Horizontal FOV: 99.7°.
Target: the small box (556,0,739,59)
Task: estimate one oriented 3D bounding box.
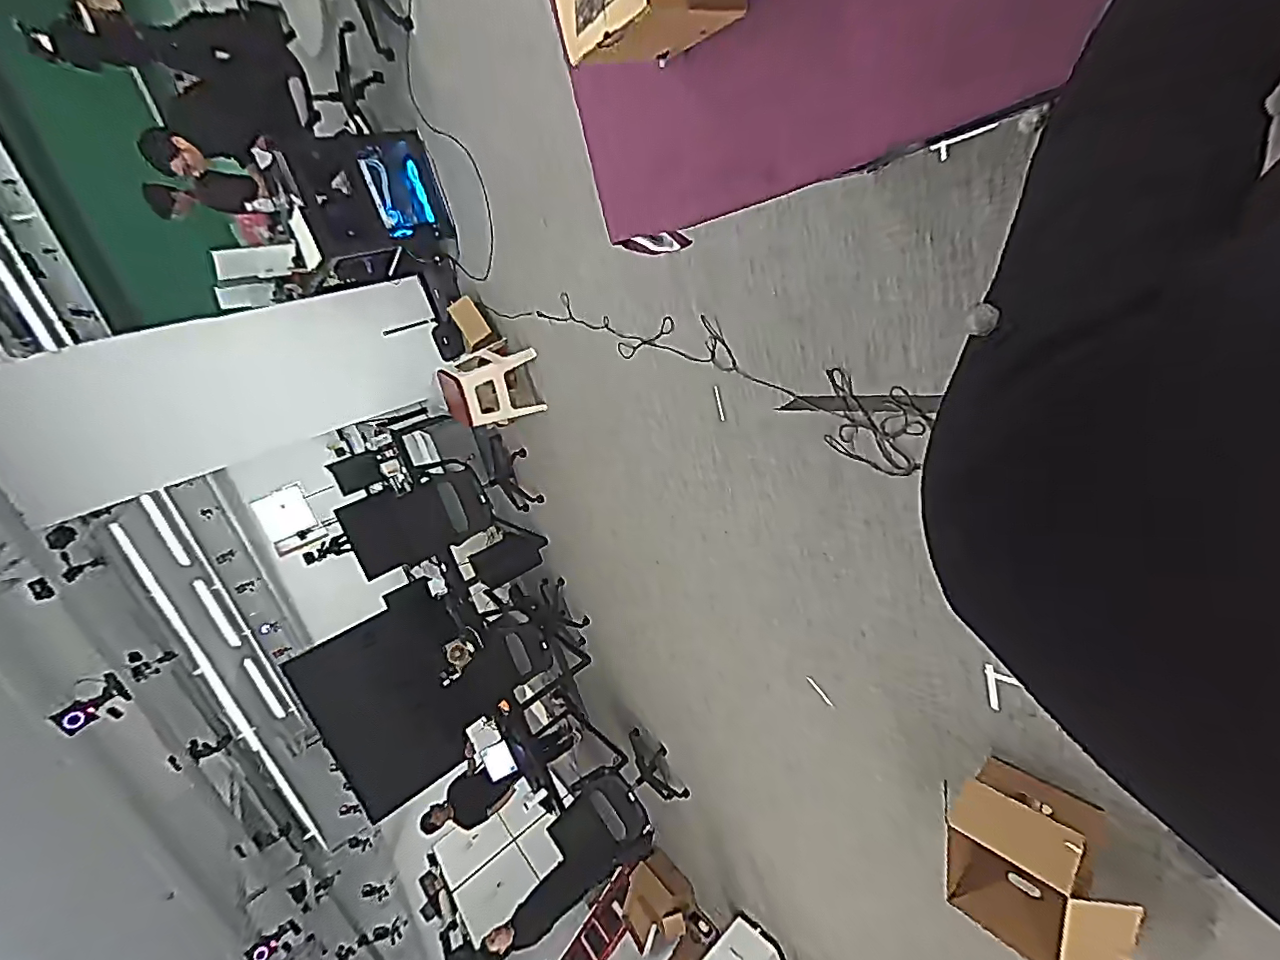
[{"bbox_3d":[0.002,-0.640,0.645,0.168,0.176,0.179,18,129,49],"label":"small box"}]
